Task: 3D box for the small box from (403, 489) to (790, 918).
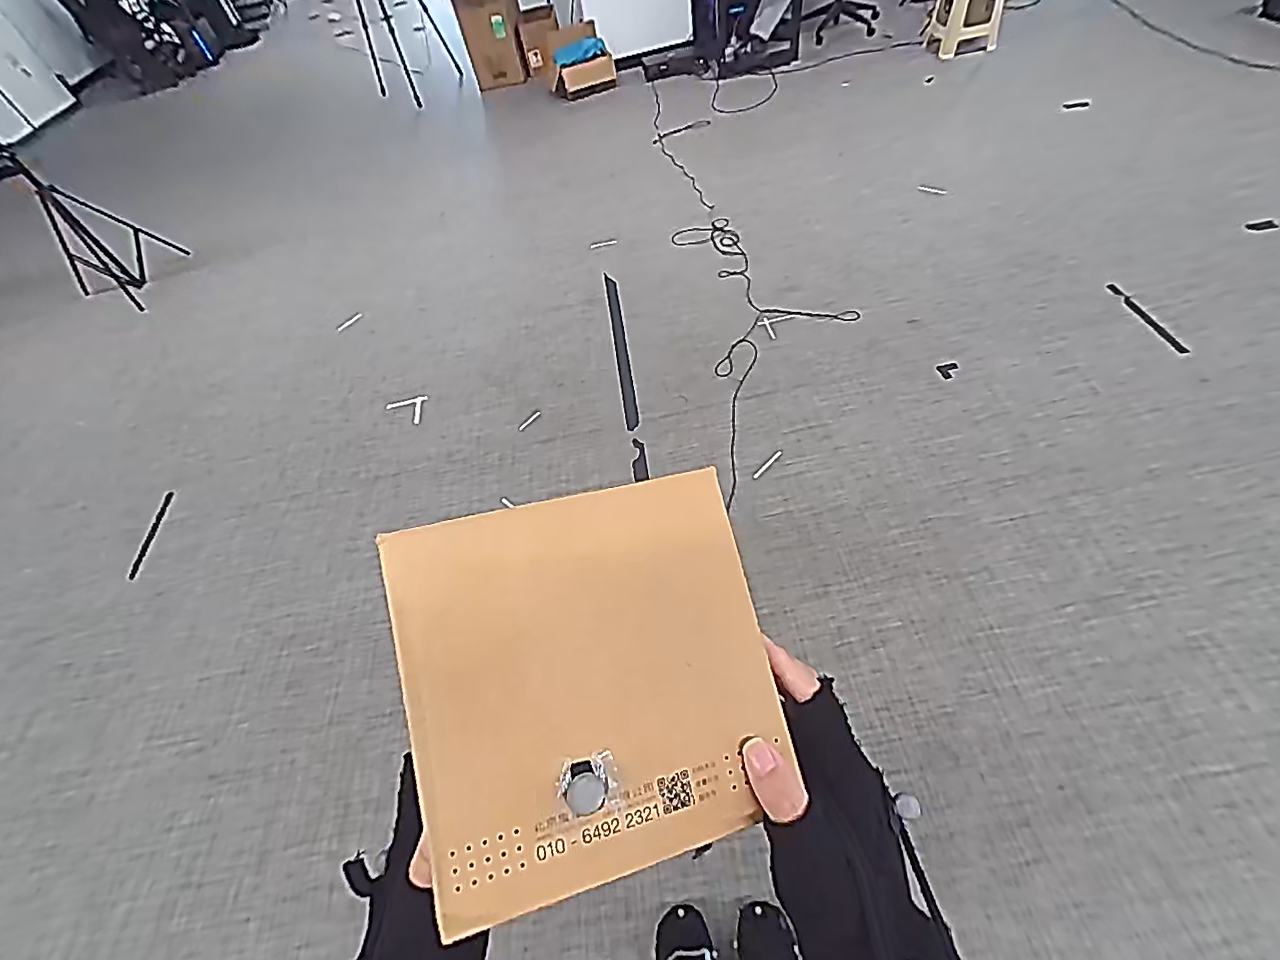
[{"bbox_3d":[-0.033,0.118,0.339,0.168,0.179,0.176,-12,79,-14],"label":"small box"}]
